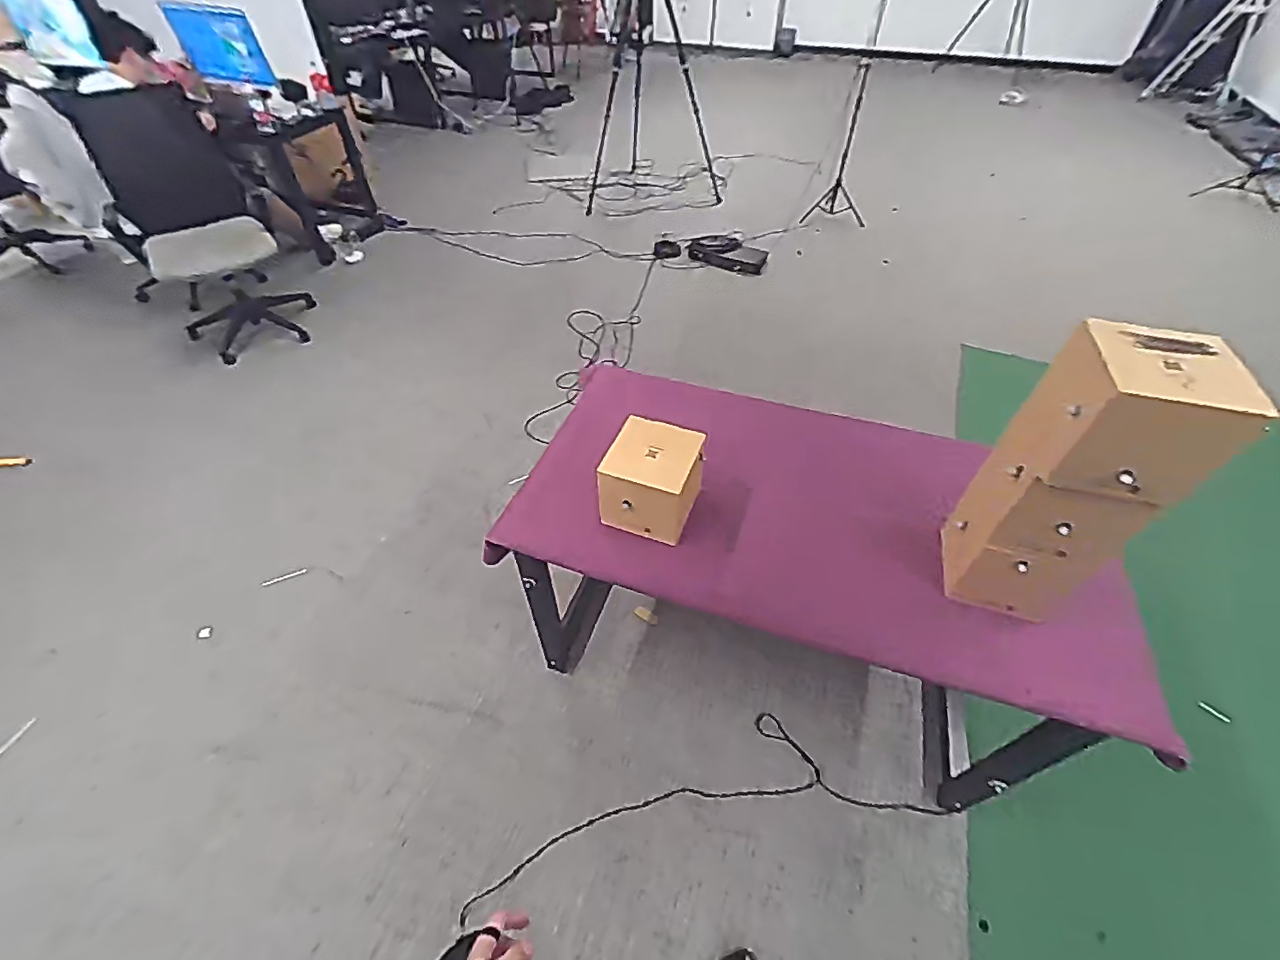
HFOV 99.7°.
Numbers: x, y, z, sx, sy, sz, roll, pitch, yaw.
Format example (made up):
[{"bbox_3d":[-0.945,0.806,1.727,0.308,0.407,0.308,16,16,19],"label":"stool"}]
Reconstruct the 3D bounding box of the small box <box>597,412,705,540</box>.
[{"bbox_3d":[0.027,-0.005,1.102,0.168,0.176,0.179,16,49,14],"label":"small box"}]

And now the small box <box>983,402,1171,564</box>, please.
[{"bbox_3d":[0.675,0.007,0.862,0.168,0.176,0.179,15,49,14],"label":"small box"}]

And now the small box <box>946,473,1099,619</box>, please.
[{"bbox_3d":[0.676,0.120,0.983,0.168,0.176,0.179,13,48,14],"label":"small box"}]
